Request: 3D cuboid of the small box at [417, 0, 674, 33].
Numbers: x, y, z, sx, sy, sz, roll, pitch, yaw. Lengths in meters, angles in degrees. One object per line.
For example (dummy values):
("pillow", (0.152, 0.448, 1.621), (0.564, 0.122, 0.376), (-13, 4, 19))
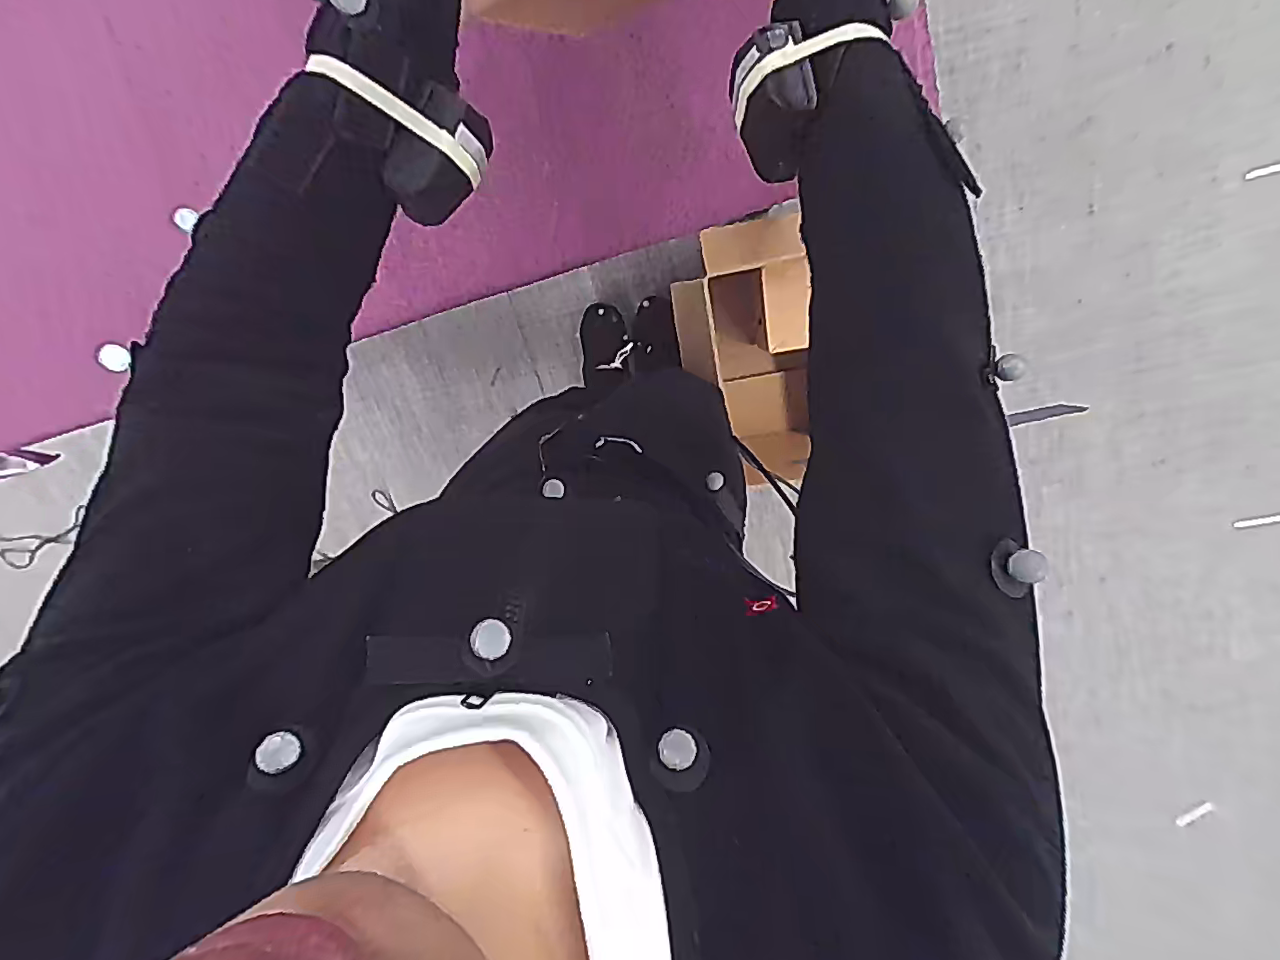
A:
("small box", (-0.039, -0.396, 0.314), (0.179, 0.176, 0.168), (11, 121, 36))
